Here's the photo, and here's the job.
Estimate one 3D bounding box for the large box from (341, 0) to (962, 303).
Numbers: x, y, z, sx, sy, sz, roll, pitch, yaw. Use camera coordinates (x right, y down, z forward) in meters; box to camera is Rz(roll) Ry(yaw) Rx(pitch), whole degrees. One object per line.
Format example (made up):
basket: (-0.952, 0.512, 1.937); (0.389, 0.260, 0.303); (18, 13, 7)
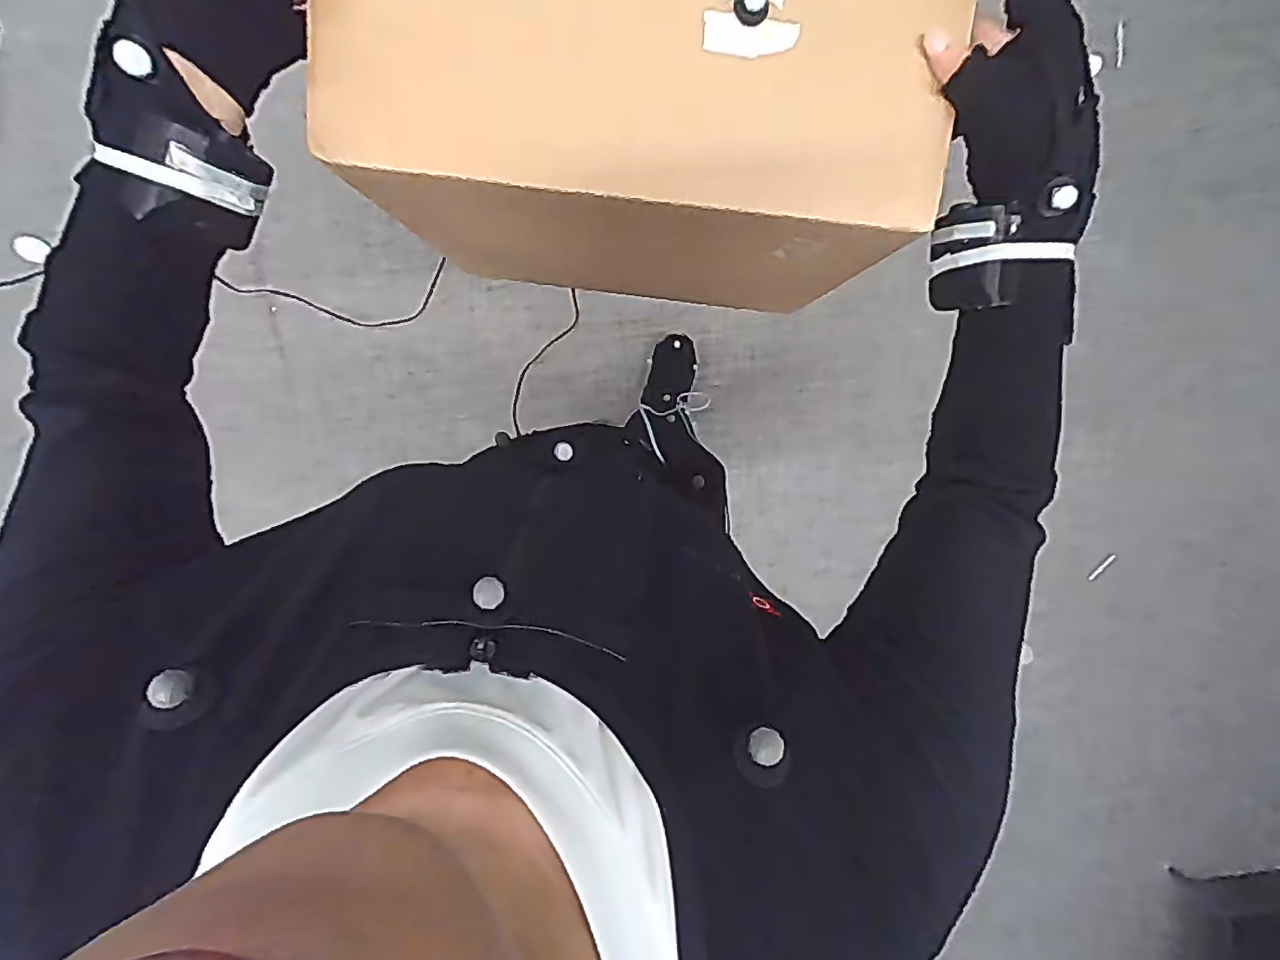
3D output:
large box: (0.010, -0.362, 0.490); (0.408, 0.320, 0.320); (6, 98, -1)
